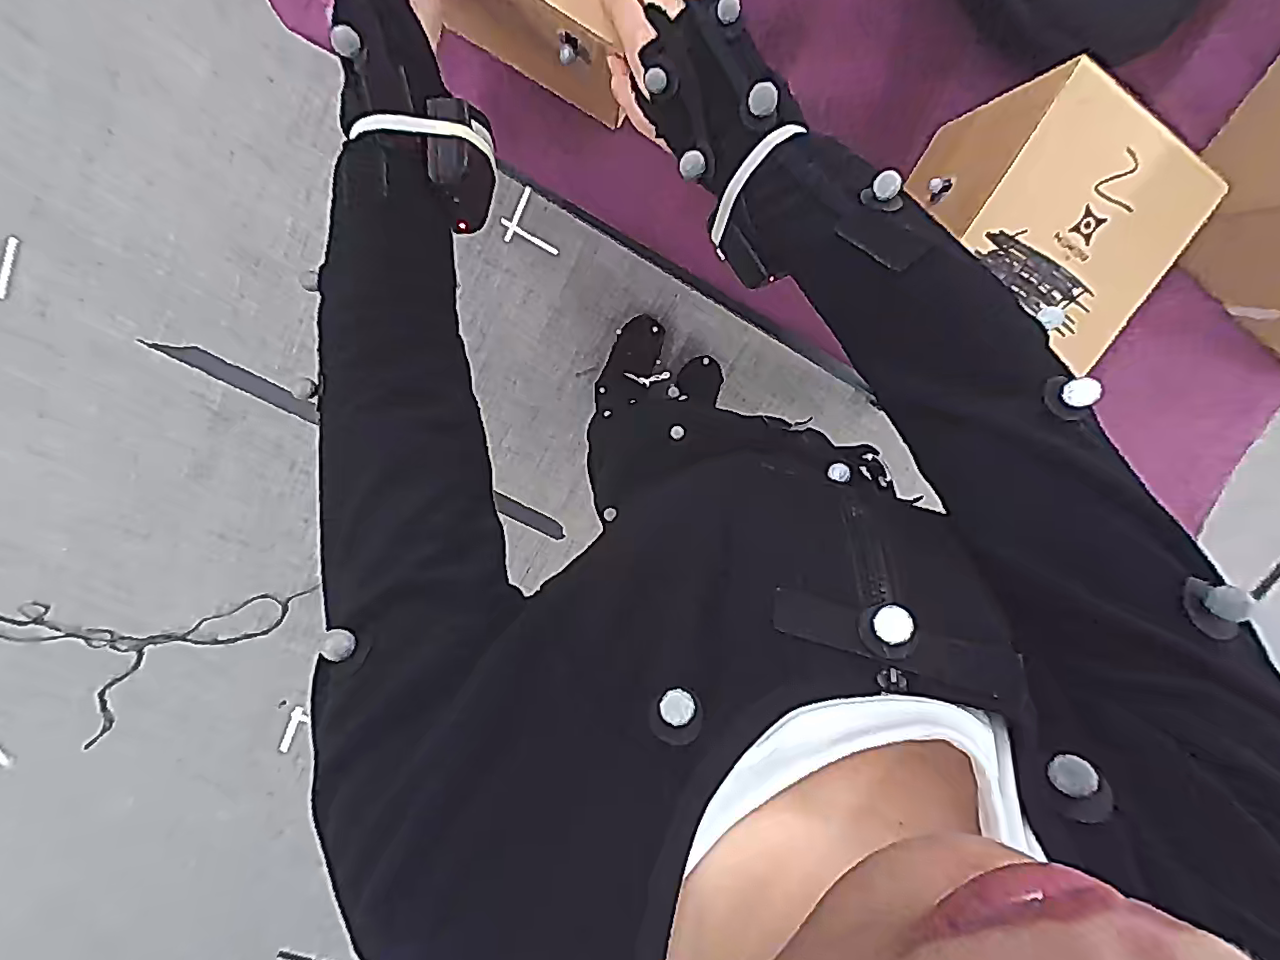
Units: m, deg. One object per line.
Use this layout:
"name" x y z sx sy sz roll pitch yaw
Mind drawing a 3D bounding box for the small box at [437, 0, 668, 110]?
"small box" -0.058 -0.415 0.394 0.179 0.176 0.168 24 104 -13
